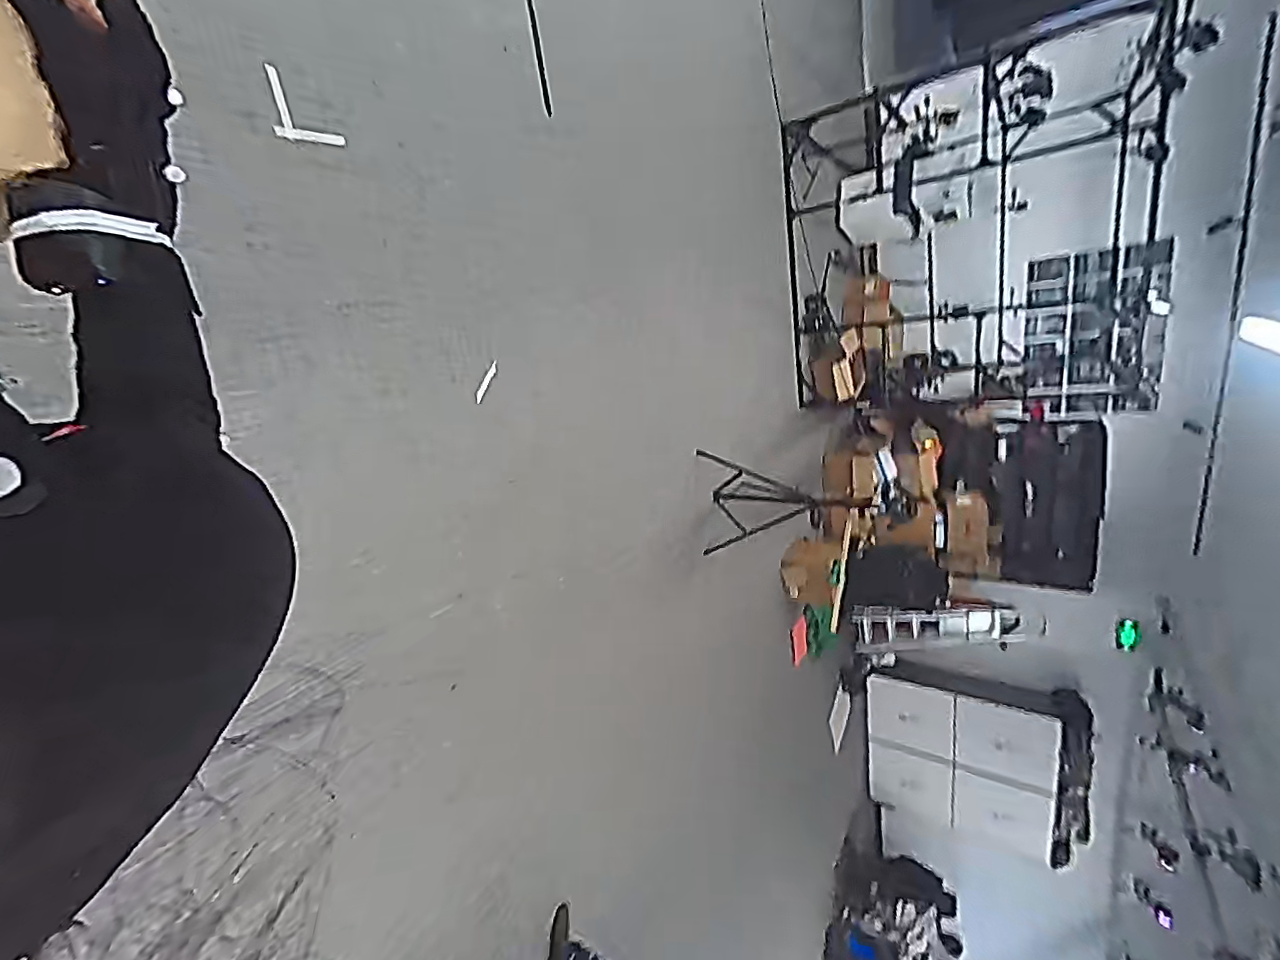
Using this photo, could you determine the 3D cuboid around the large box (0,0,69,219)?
[{"bbox_3d":[-0.646,-0.358,0.285,0.408,0.320,0.320,-13,110,-55],"label":"large box"}]
